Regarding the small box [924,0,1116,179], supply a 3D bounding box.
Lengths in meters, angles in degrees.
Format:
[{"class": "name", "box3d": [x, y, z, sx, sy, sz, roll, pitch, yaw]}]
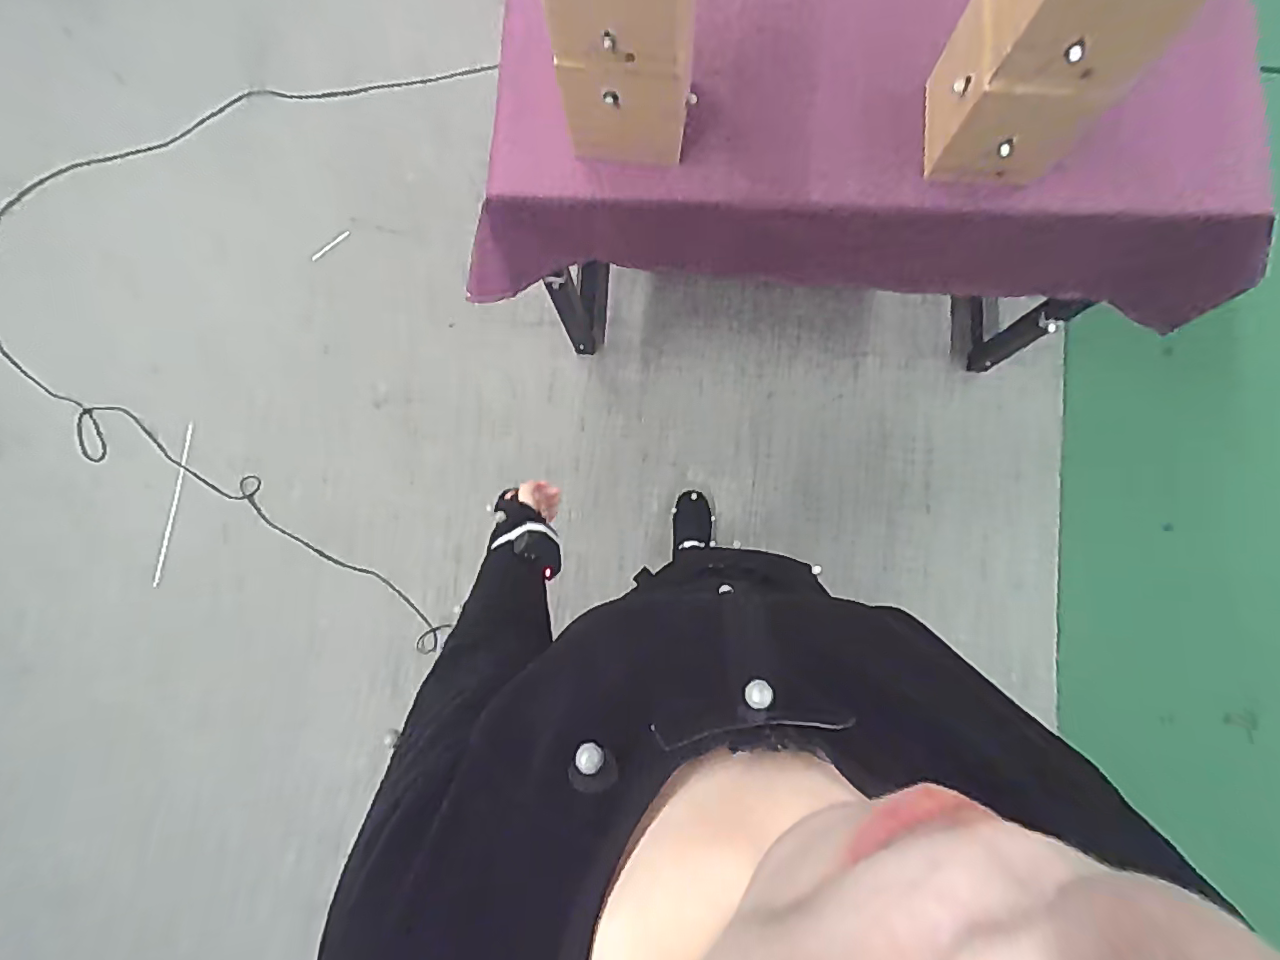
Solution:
[{"class": "small box", "box3d": [0.527, -0.561, 0.771, 0.168, 0.176, 0.179, 5, 82, 4]}]

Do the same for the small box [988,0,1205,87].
[{"class": "small box", "box3d": [0.523, -0.591, 0.610, 0.168, 0.176, 0.179, 5, 83, 4]}]

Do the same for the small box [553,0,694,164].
[{"class": "small box", "box3d": [-0.017, -0.607, 0.808, 0.179, 0.176, 0.168, 7, 82, 3]}]
